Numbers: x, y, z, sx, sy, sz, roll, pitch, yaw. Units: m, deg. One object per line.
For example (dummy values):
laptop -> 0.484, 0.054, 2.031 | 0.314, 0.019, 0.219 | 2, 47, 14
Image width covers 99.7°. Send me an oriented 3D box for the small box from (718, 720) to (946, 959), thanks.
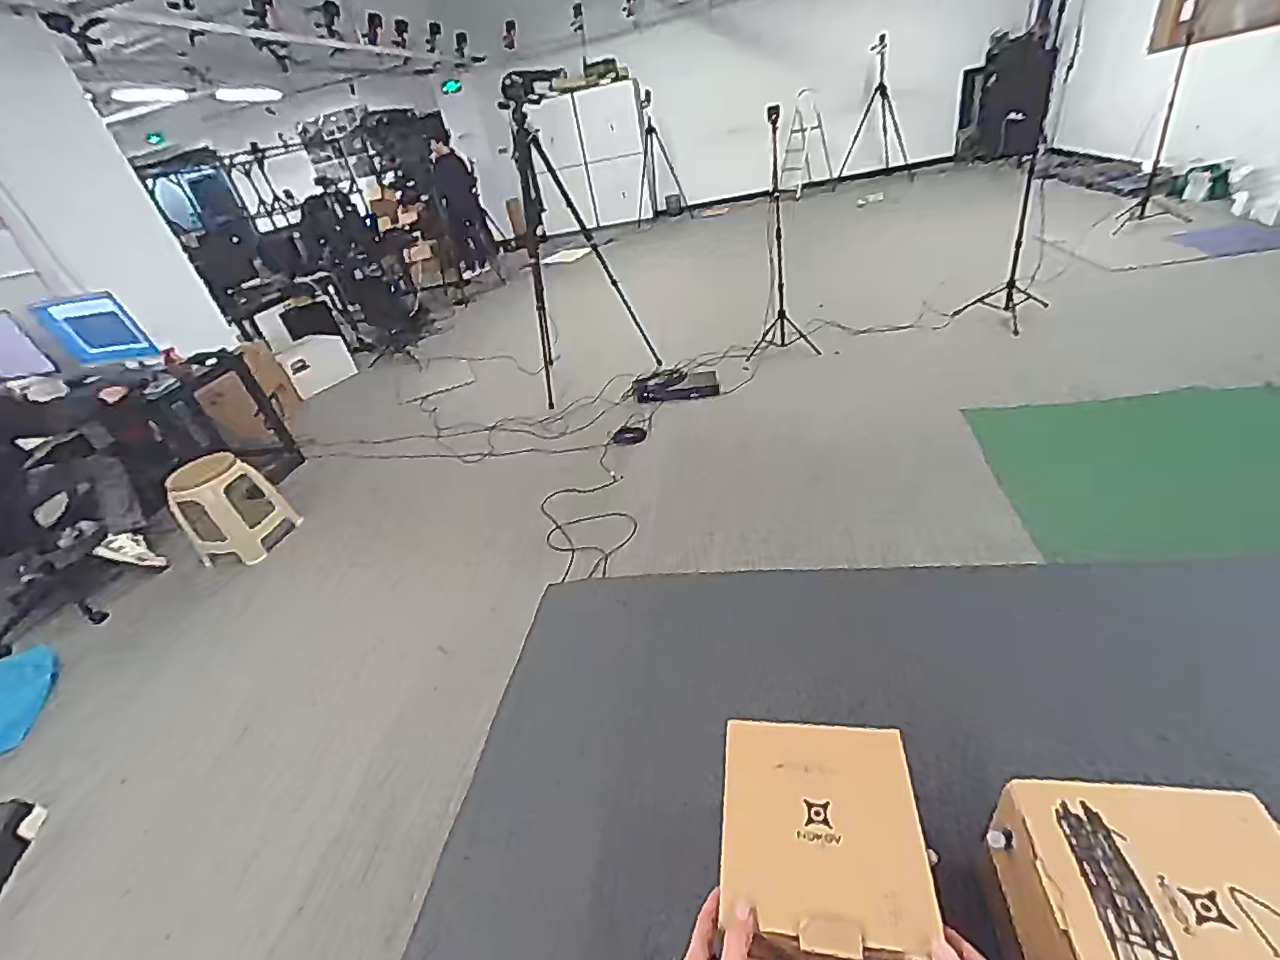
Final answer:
small box -> 0.168, 0.357, 0.511 | 0.168, 0.176, 0.179 | -3, 33, 13
